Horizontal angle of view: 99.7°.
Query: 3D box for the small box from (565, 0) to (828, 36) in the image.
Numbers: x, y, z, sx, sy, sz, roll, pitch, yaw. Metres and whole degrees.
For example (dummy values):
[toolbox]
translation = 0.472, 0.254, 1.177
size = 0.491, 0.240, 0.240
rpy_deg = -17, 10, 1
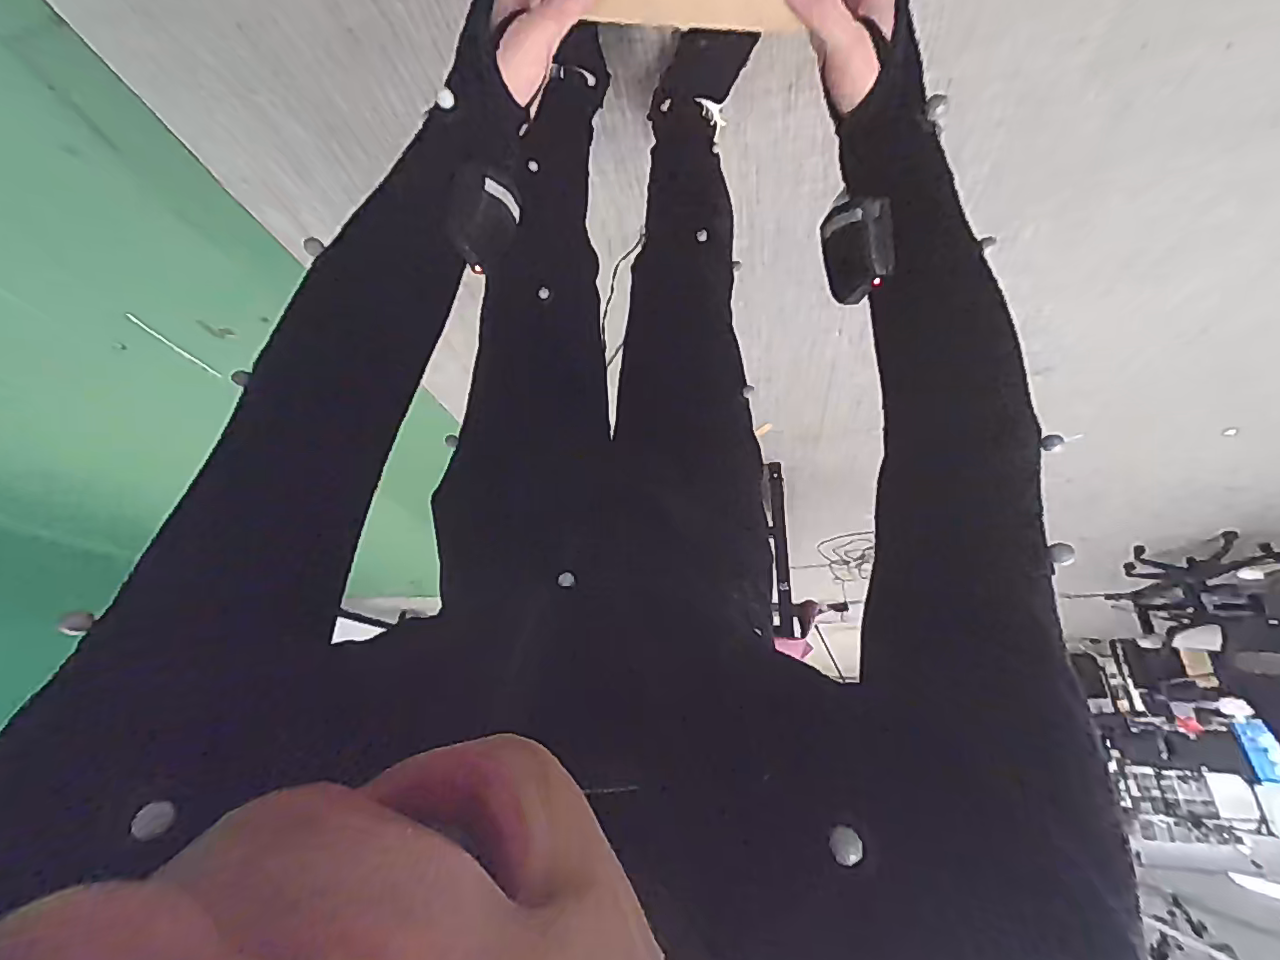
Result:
[small box]
translation = 0.044, -0.419, 0.340
size = 0.179, 0.176, 0.168
rpy_deg = 3, 149, 0
